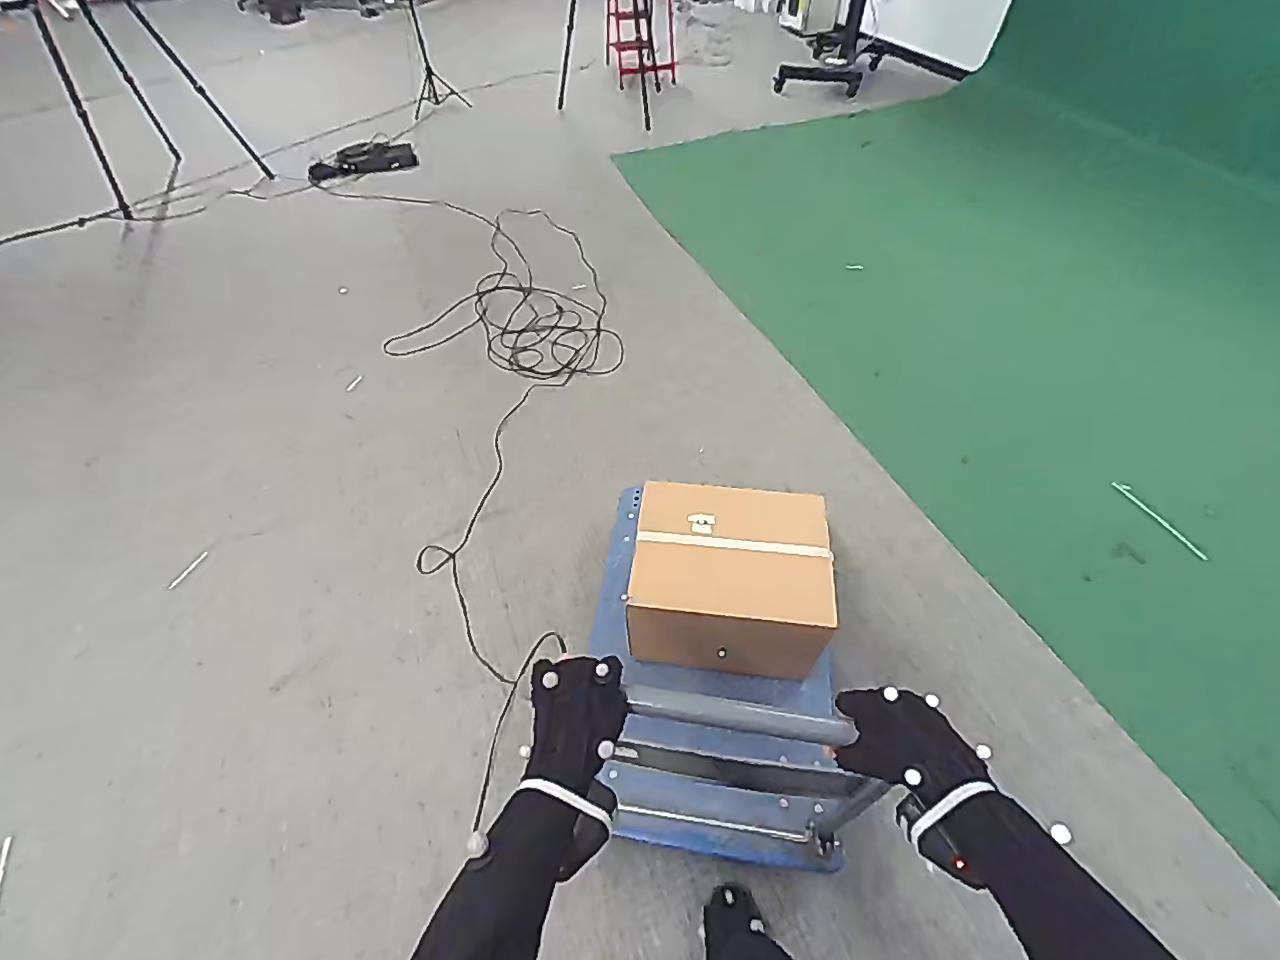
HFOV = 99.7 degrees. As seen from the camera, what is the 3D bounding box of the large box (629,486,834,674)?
[{"bbox_3d":[0.198,0.237,1.254,0.408,0.320,0.320,4,52,6],"label":"large box"}]
